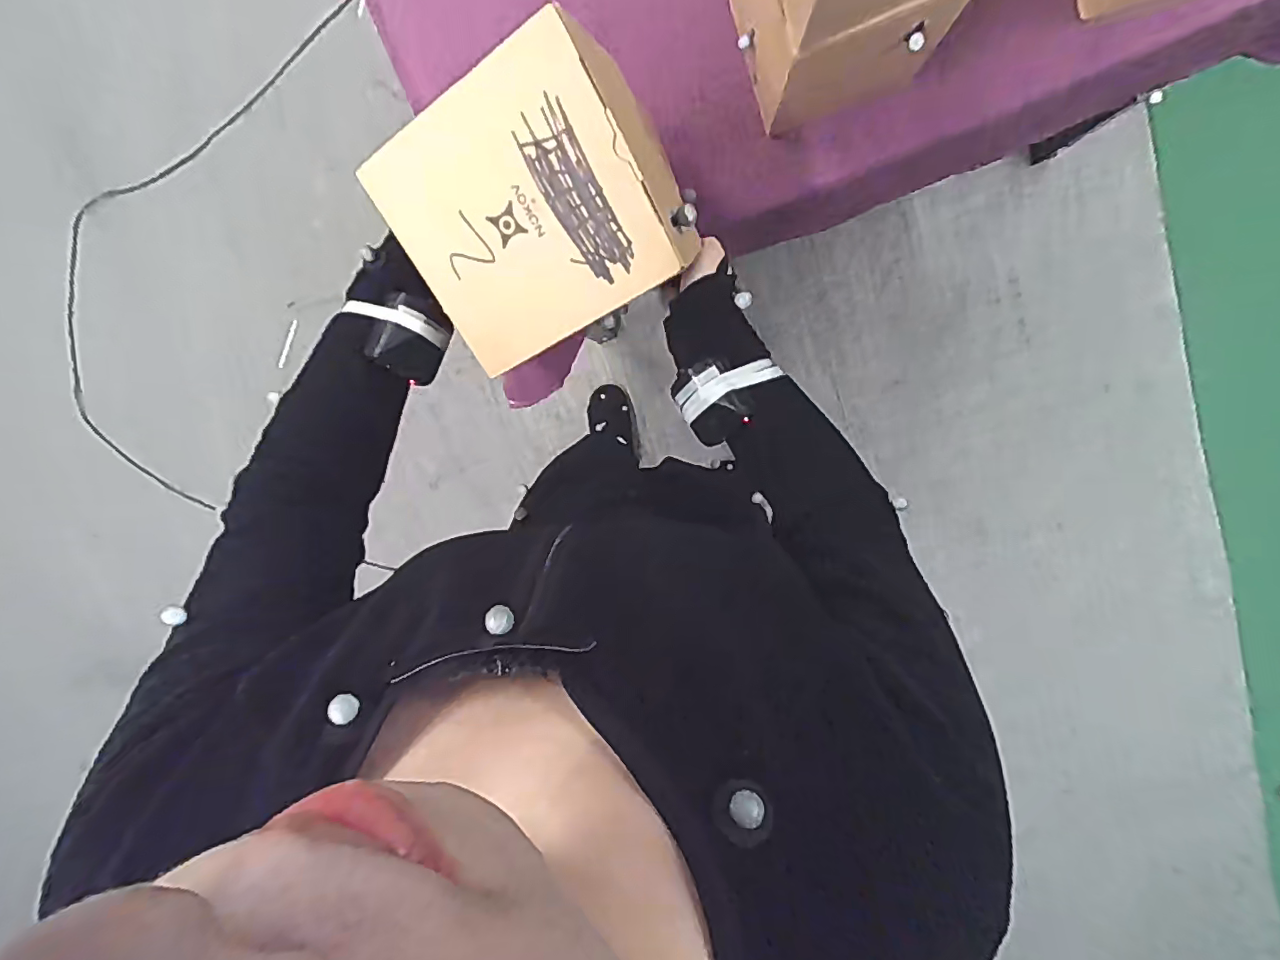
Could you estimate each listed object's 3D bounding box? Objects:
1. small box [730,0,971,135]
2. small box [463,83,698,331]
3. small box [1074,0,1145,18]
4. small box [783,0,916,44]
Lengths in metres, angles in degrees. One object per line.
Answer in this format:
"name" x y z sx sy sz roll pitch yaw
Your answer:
"small box" 0.204 -0.504 0.563 0.179 0.176 0.168 -17 97 7
"small box" -0.049 -0.283 0.589 0.179 0.176 0.168 -19 111 19
"small box" 0.553 -0.604 0.520 0.179 0.176 0.168 -13 98 6
"small box" 0.189 -0.483 0.400 0.179 0.176 0.168 -20 98 7
